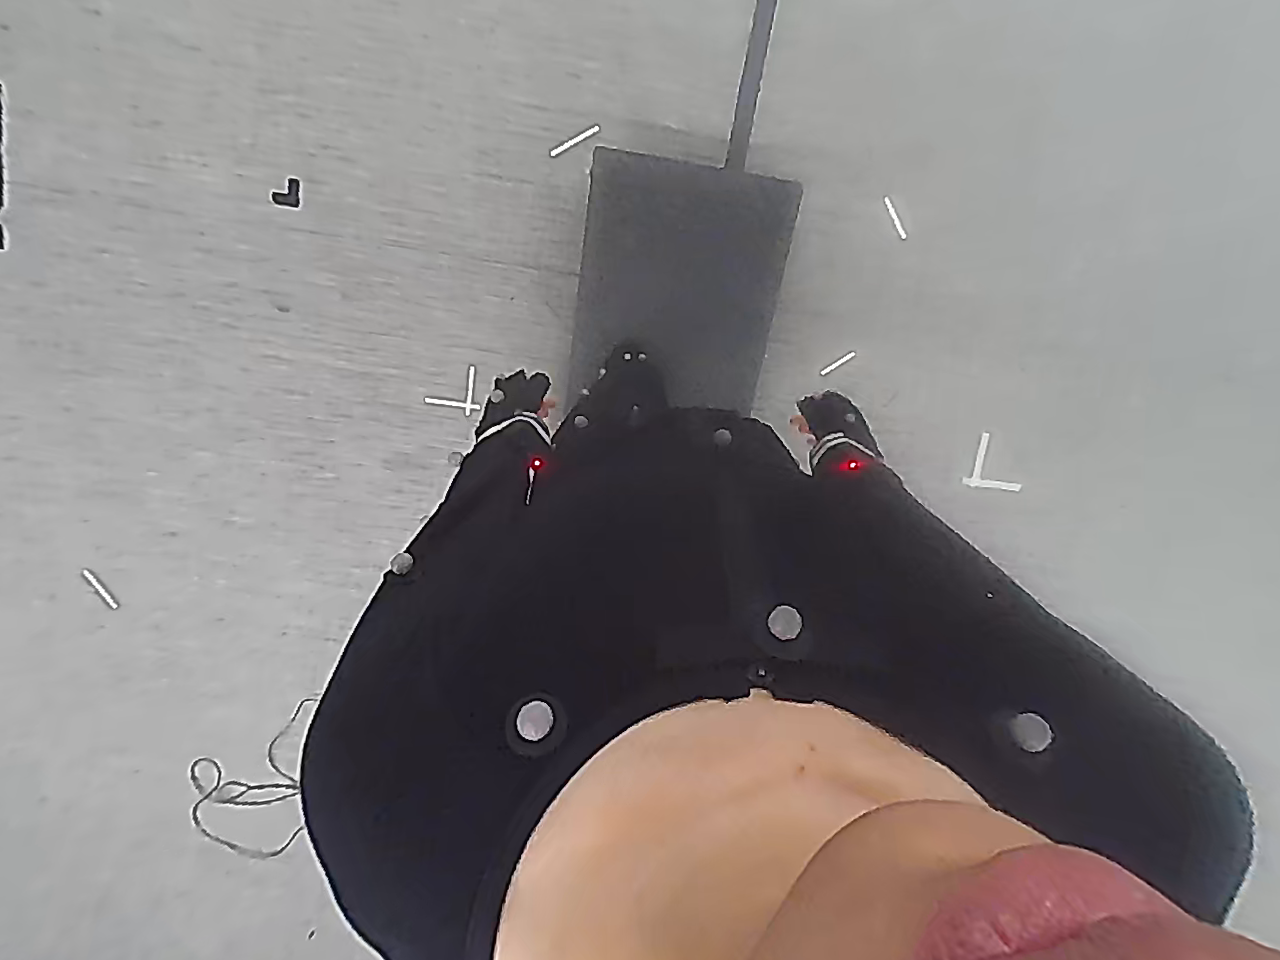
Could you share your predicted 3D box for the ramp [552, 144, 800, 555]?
[{"bbox_3d":[0.059,-0.269,1.409,0.509,0.206,0.991,7,101,-3],"label":"ramp"}]
